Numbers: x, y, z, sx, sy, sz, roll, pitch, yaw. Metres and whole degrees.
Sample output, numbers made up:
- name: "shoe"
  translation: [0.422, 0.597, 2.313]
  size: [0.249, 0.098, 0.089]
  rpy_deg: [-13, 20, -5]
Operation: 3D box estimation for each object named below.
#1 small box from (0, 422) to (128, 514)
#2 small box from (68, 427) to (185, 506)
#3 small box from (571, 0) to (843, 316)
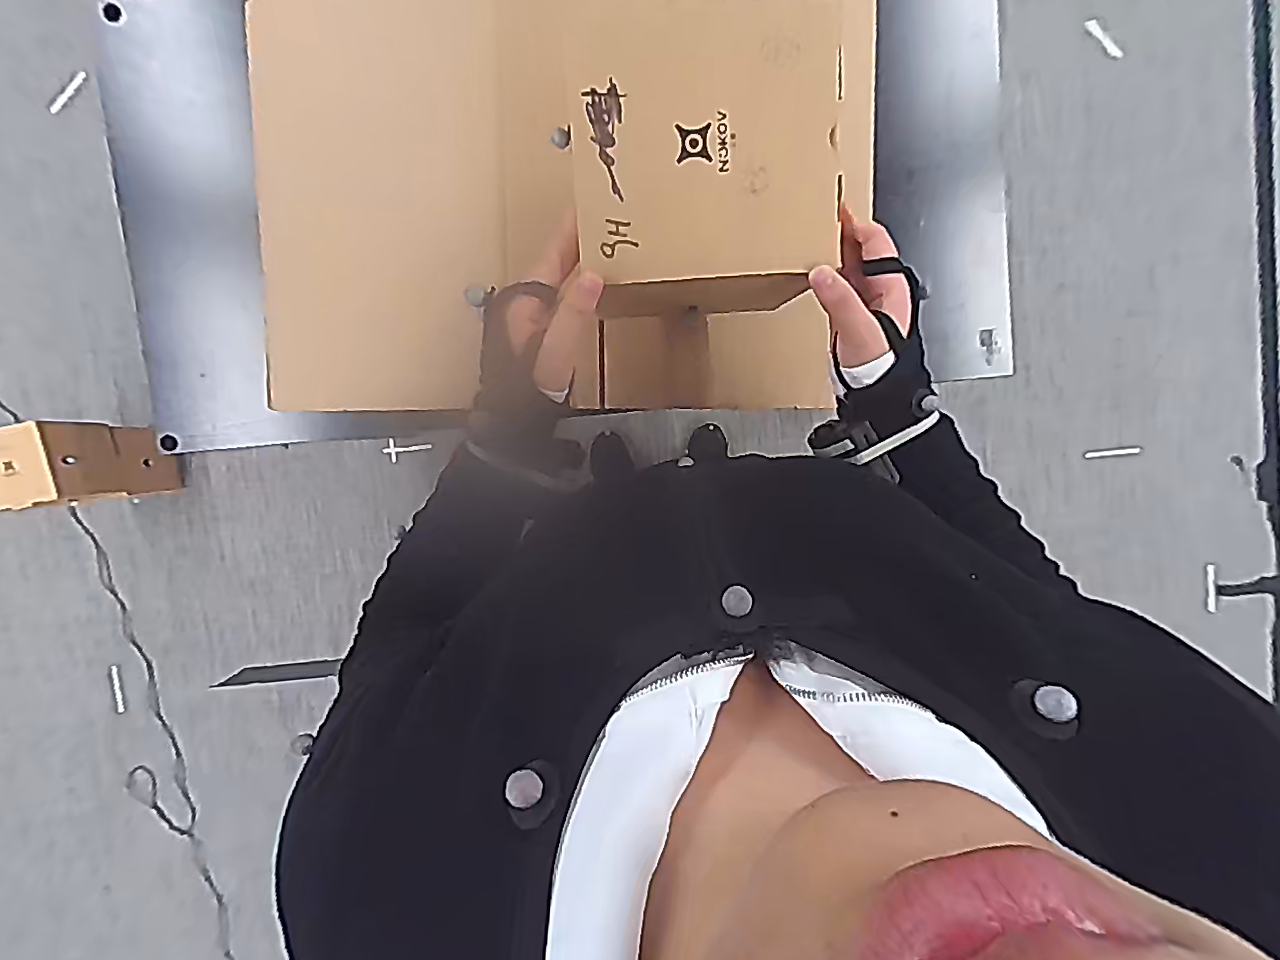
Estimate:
- name: "small box"
  translation: [-1.346, -0.032, 1.245]
  size: [0.168, 0.176, 0.179]
  rpy_deg: [-12, 94, 0]
- name: "small box"
  translation: [-1.347, -0.038, 1.408]
  size: [0.168, 0.176, 0.179]
  rpy_deg: [-10, 95, 0]
- name: "small box"
  translation: [0.042, -0.231, 0.430]
  size: [0.179, 0.176, 0.168]
  rpy_deg: [-4, 97, -2]
